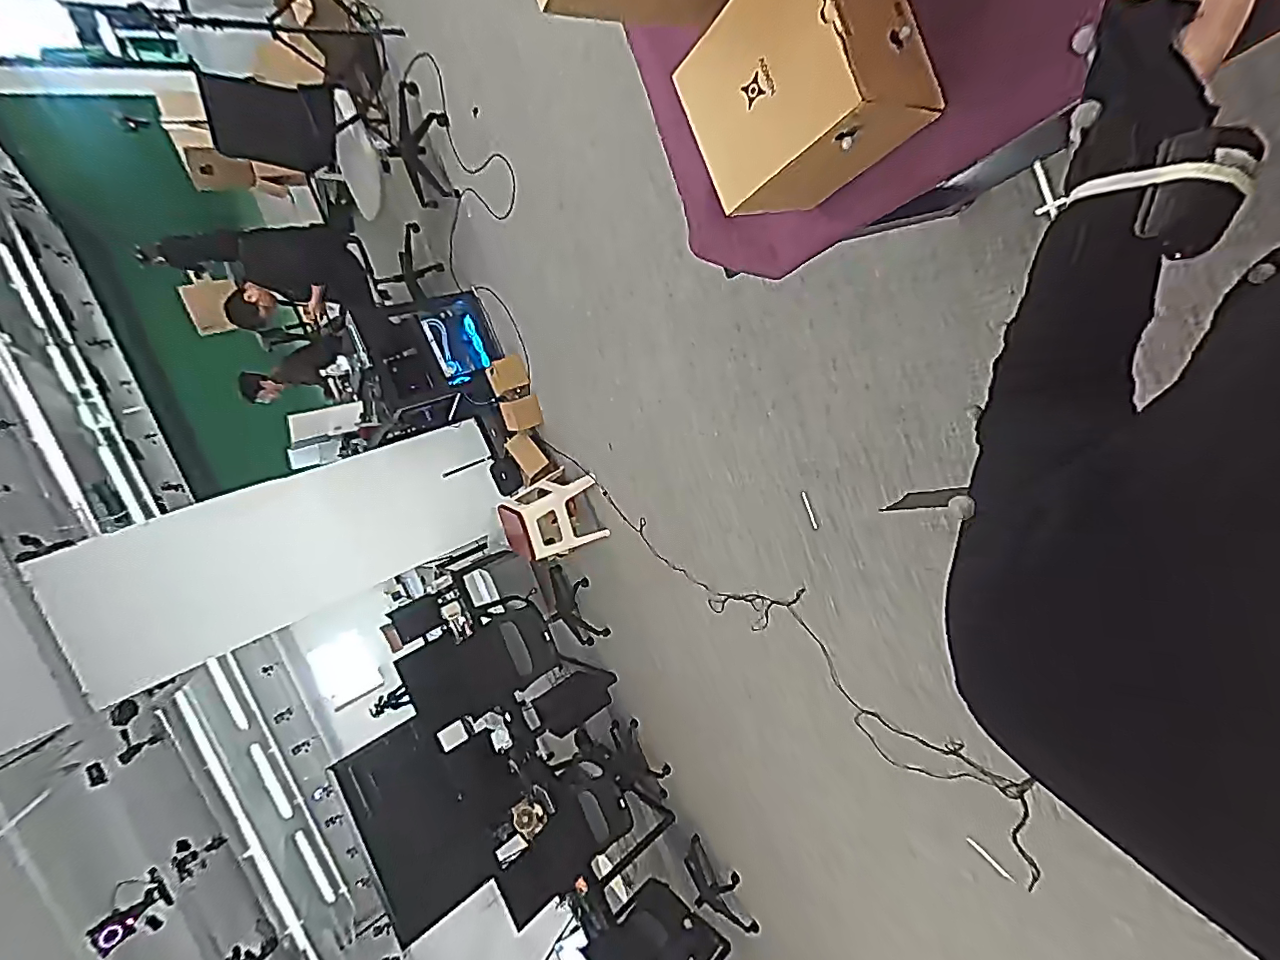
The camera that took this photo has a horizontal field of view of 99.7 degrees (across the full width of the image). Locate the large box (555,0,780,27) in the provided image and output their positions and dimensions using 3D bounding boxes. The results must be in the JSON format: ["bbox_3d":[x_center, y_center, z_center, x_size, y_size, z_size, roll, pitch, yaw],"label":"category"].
[{"bbox_3d":[0.033,-0.712,0.461,0.320,0.320,0.408,-14,103,58],"label":"large box"}]
